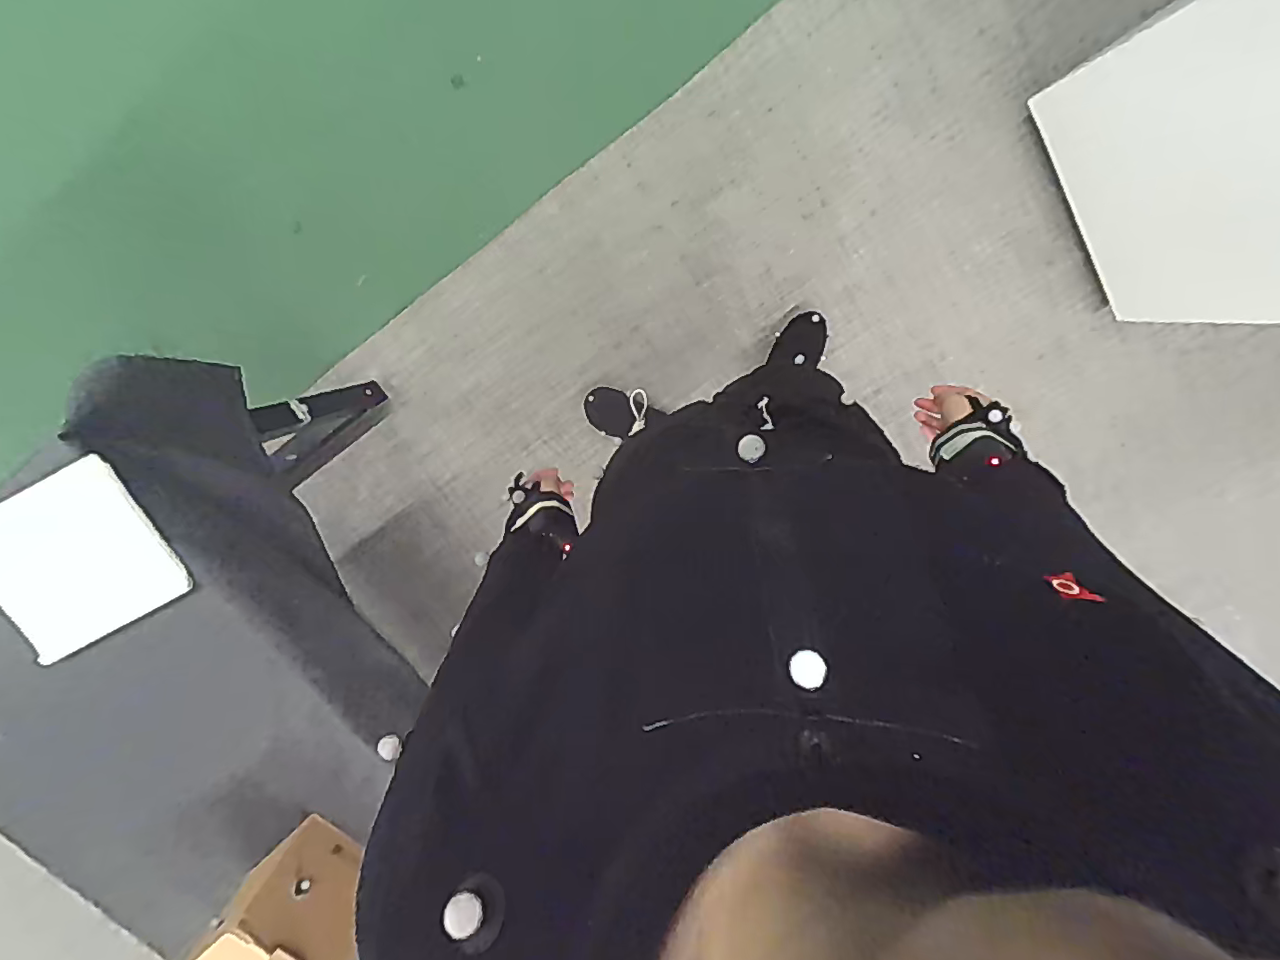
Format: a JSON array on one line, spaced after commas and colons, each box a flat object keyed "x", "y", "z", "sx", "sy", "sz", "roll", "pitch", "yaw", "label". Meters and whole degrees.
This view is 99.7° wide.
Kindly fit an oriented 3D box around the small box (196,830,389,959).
[{"x": -0.484, "y": 0.637, "z": 0.748, "sx": 0.168, "sy": 0.176, "sz": 0.179, "roll": 44, "pitch": 105, "yaw": -8, "label": "small box"}]

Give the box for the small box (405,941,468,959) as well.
[{"x": -0.316, "y": 0.844, "z": 0.798, "sx": 0.179, "sy": 0.176, "sz": 0.168, "roll": 42, "pitch": 105, "yaw": -8, "label": "small box"}]
